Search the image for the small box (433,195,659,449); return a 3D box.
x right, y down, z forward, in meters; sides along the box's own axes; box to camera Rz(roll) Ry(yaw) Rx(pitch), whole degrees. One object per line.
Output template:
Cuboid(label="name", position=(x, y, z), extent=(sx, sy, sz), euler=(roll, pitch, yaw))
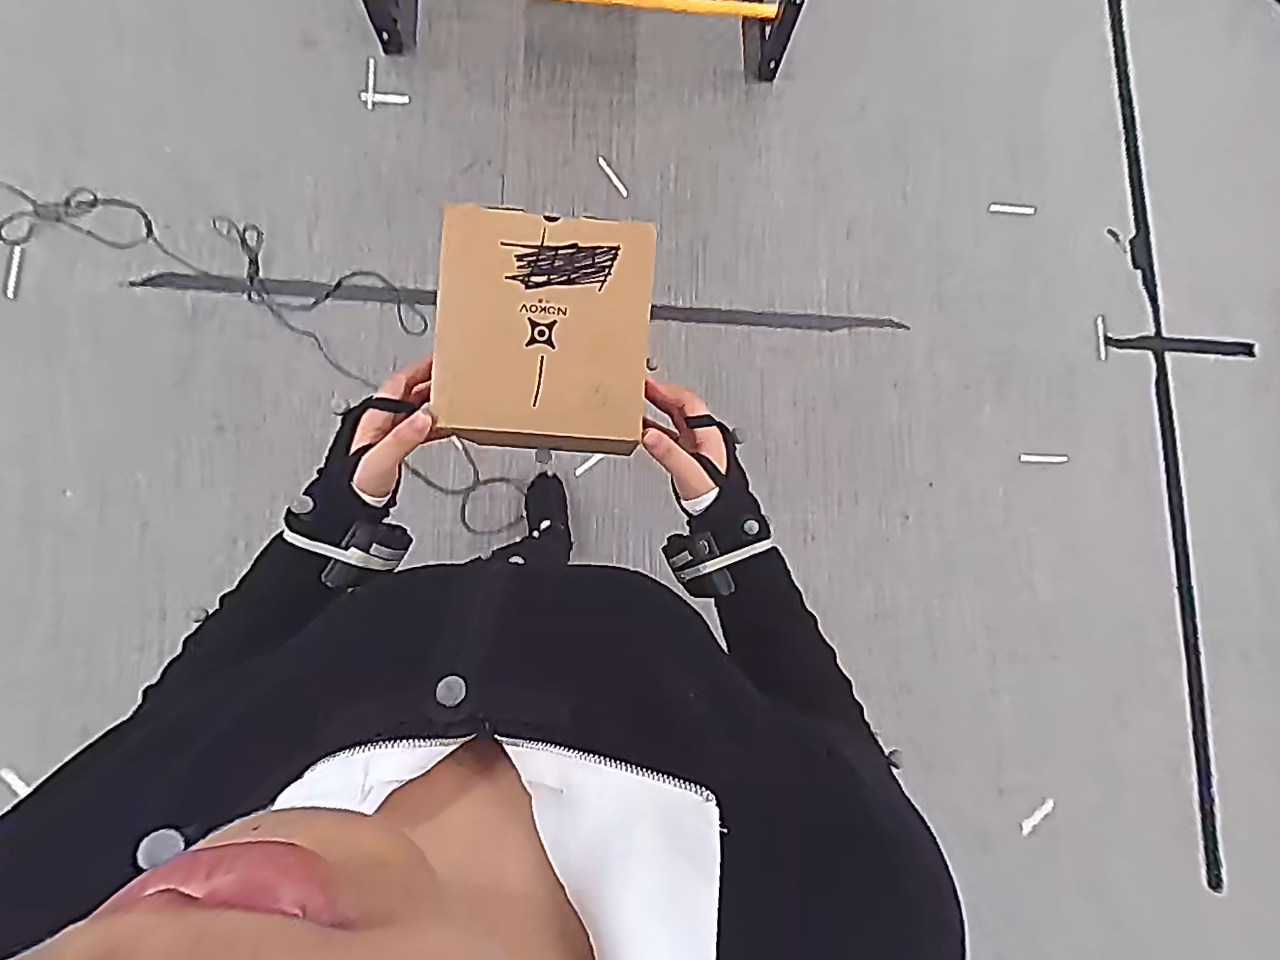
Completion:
Cuboid(label="small box", position=(-0.077, -0.128, 0.501), extent=(0.168, 0.176, 0.179), euler=(4, 88, -3))
